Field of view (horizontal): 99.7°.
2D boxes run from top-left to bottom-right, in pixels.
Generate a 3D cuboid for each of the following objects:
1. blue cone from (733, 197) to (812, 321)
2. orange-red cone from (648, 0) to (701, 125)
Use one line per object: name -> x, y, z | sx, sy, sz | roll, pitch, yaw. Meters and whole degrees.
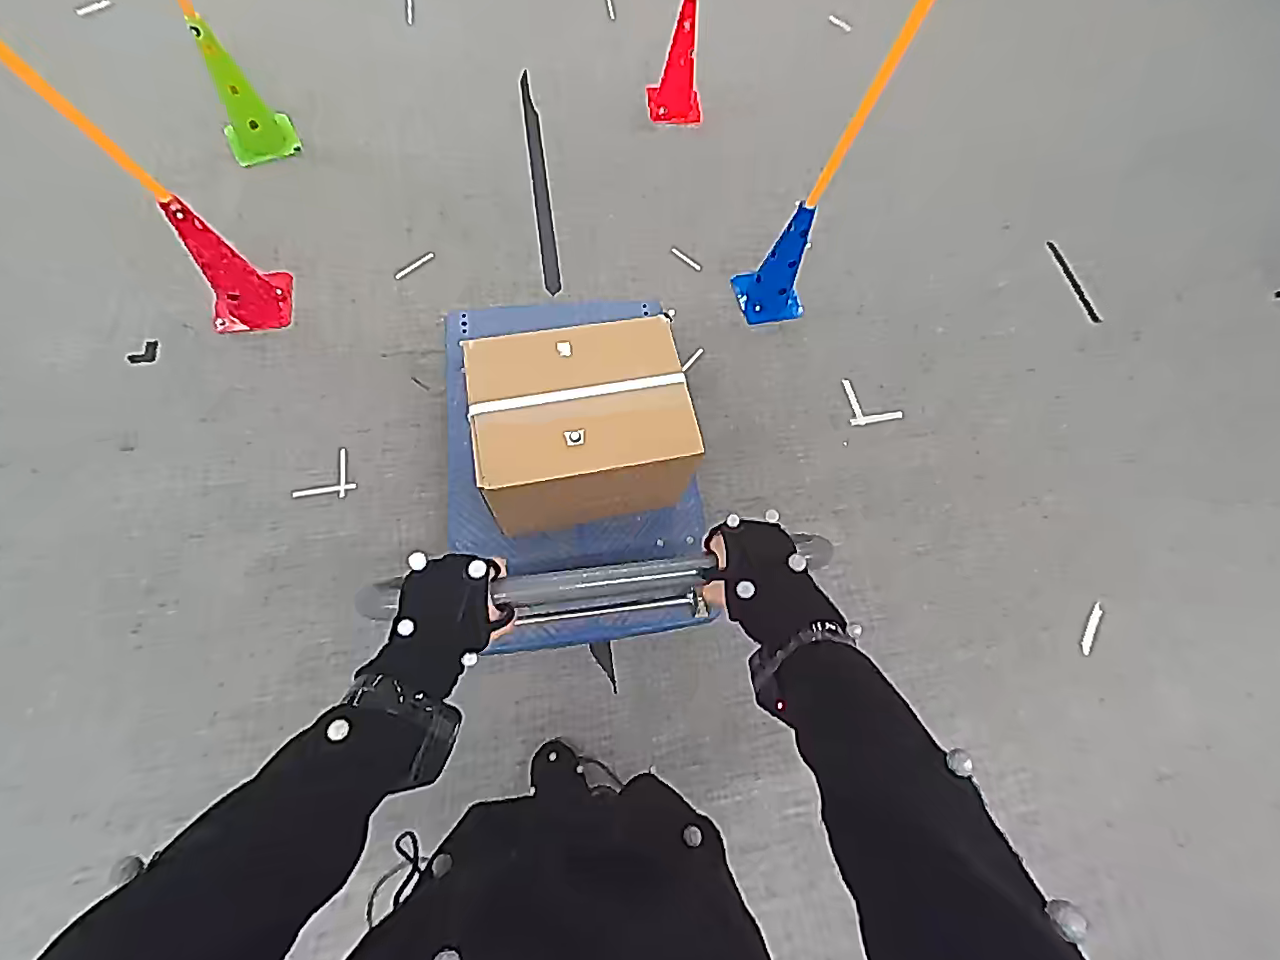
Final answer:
blue cone -> 0.429, -0.662, 1.611 | 0.193, 0.380, 0.192 | -11, 69, -11
orange-red cone -> 0.150, -1.483, 1.892 | 0.199, 0.360, 0.198 | -1, 69, -8
